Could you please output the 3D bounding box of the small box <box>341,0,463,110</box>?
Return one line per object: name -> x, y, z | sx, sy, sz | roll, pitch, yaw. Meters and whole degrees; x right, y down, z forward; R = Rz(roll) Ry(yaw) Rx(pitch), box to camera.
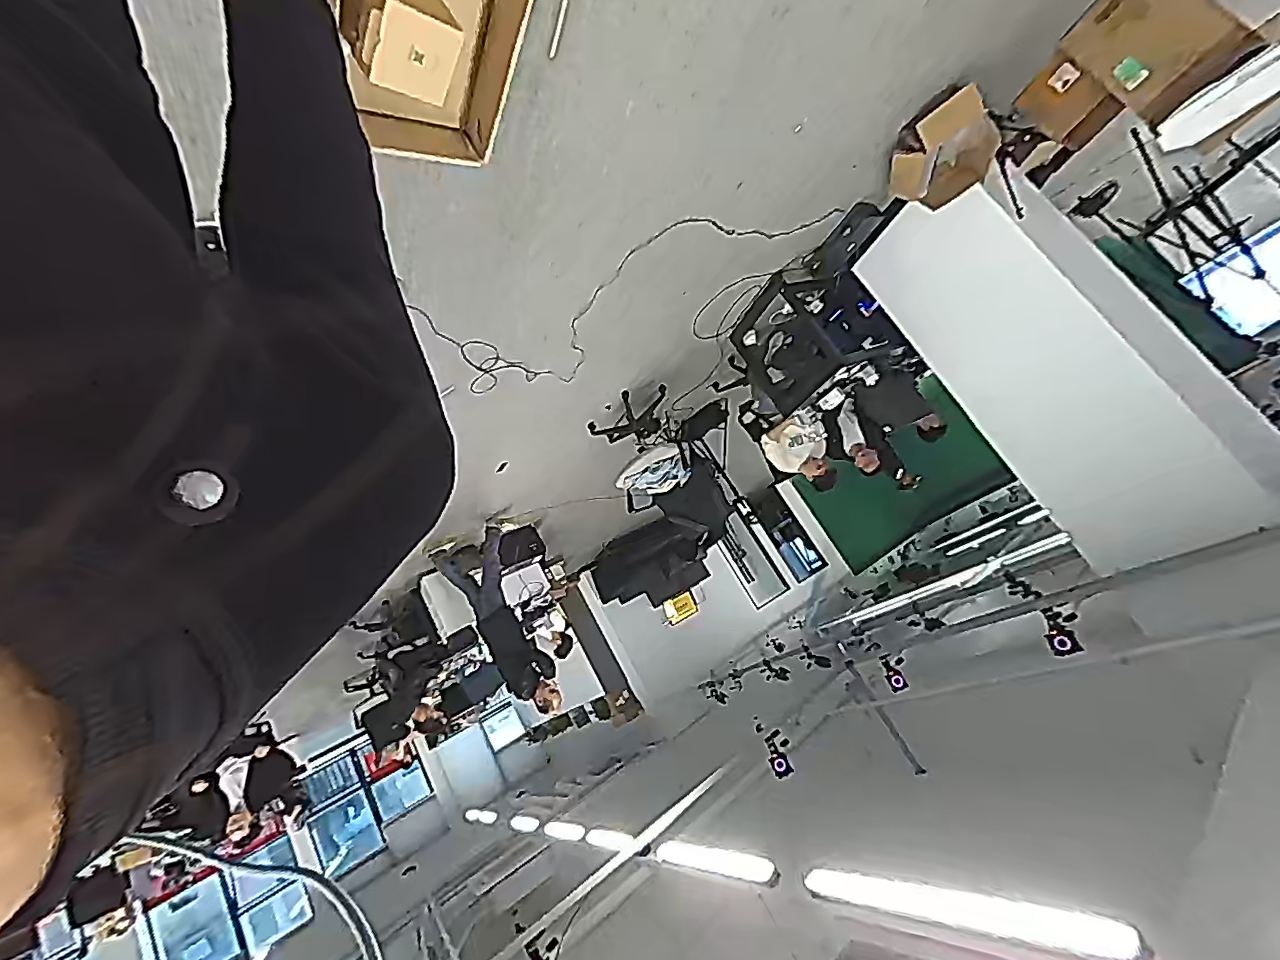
small box -> -0.523, -0.964, 1.177 | 0.179, 0.176, 0.168 | -15, 158, -47
